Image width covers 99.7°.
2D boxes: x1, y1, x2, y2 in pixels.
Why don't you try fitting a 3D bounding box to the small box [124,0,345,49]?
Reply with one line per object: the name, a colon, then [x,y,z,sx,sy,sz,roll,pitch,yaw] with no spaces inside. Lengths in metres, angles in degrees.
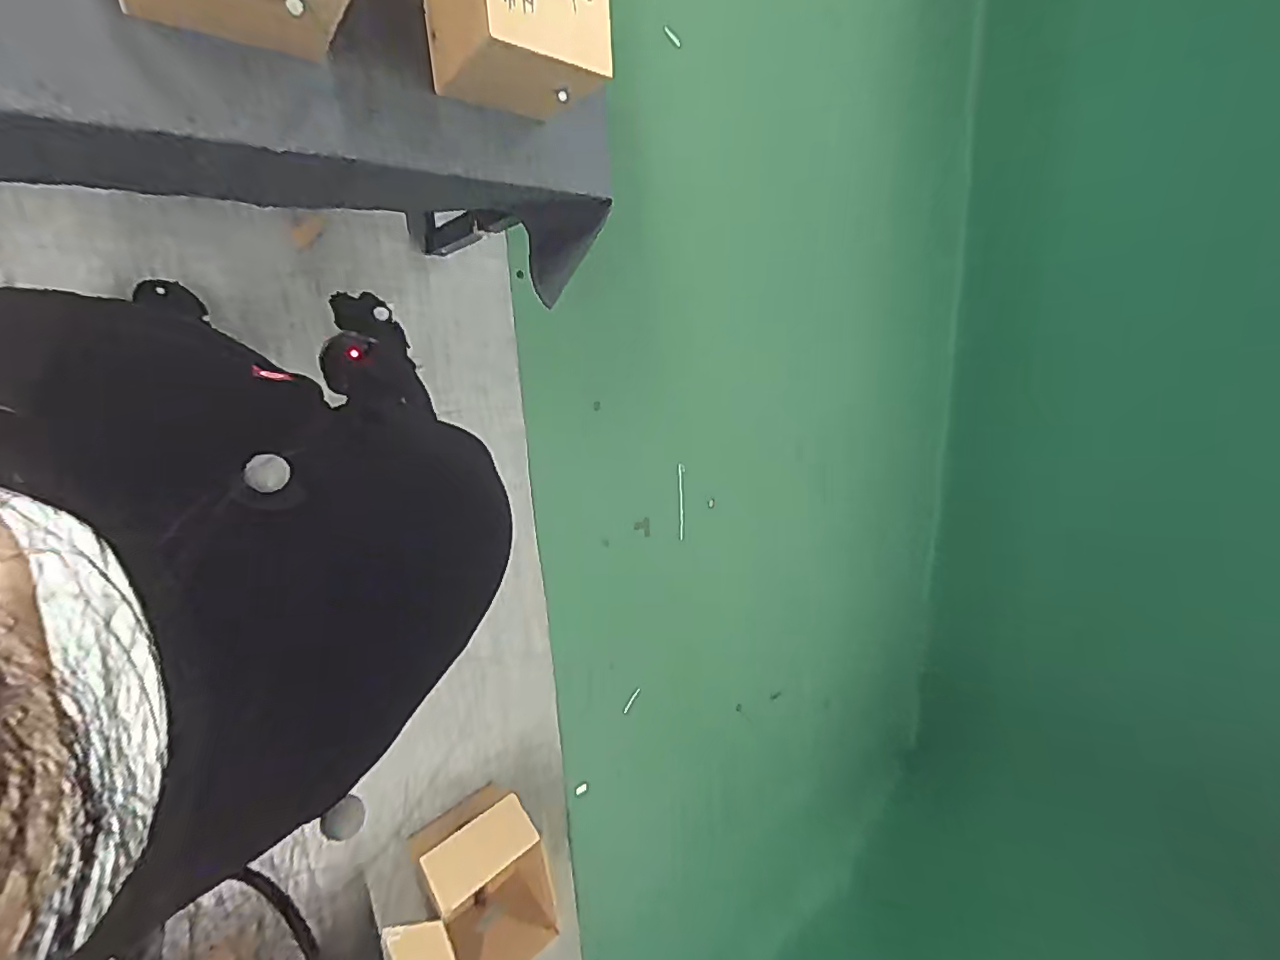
small box: [-0.392,-0.542,0.497,0.179,0.176,0.168,-14,107,-38]
